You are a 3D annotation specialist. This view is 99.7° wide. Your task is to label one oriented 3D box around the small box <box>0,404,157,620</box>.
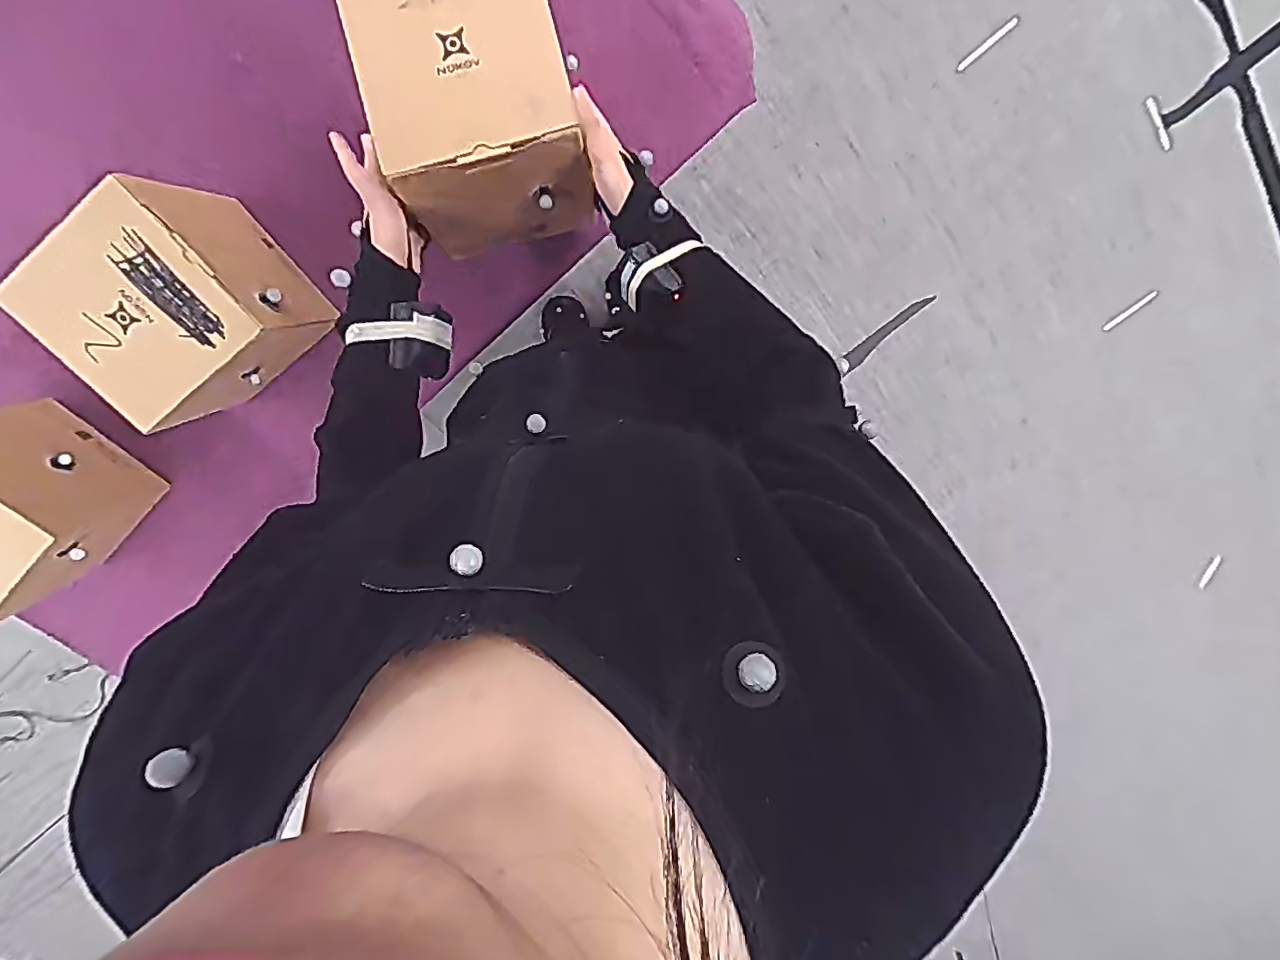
[{"bbox_3d":[-0.737,0.034,0.637,0.179,0.176,0.168,-41,106,11],"label":"small box"}]
